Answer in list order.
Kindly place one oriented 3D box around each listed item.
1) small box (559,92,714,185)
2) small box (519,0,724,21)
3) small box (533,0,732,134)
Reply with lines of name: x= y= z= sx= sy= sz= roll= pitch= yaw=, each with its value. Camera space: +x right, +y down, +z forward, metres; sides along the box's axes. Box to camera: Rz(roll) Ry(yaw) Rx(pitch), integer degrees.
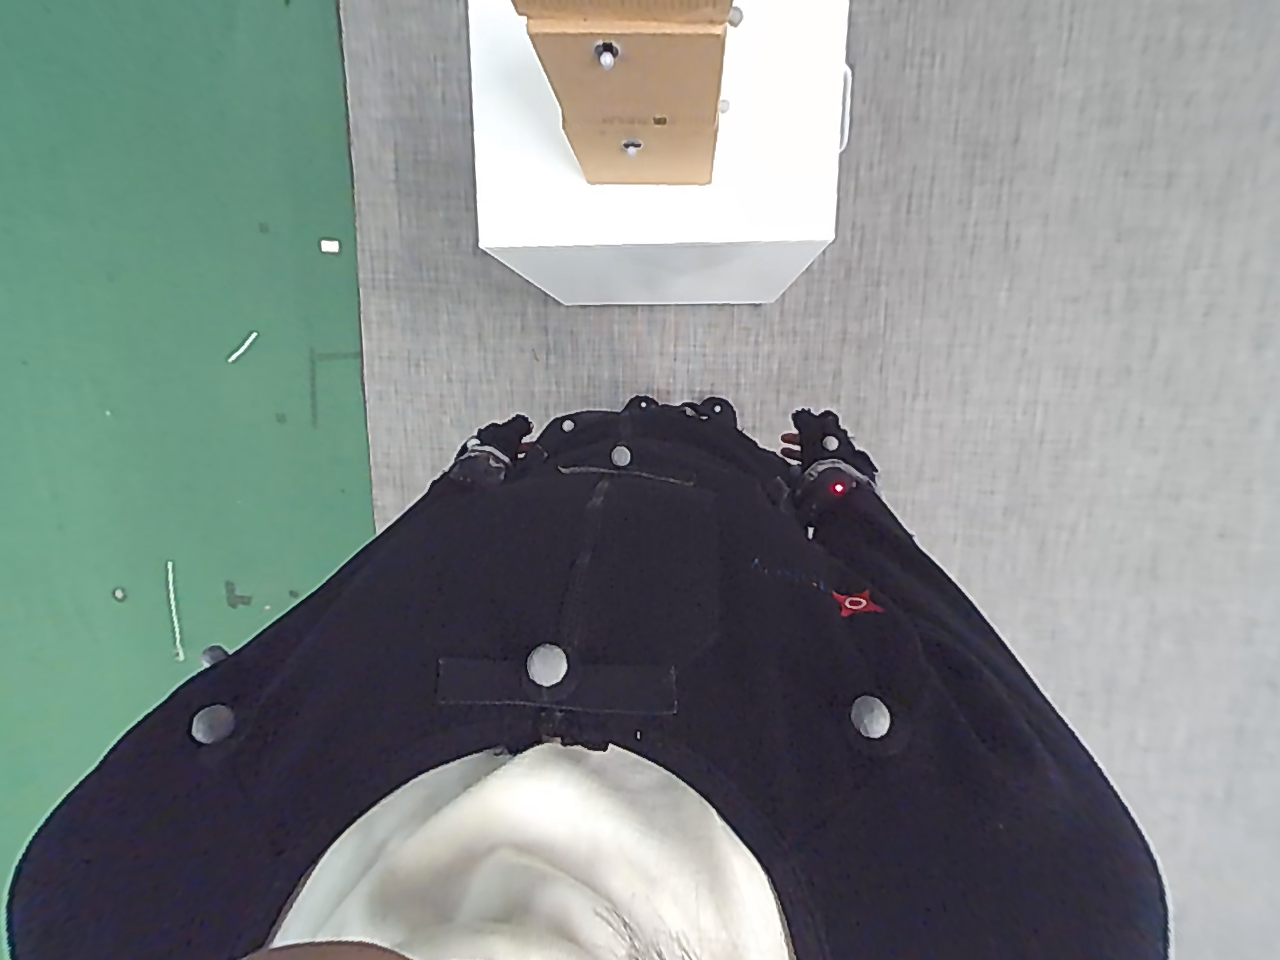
small box: x=0.006 y=-0.483 z=0.670 sx=0.179 sy=0.176 sz=0.168 roll=3 pitch=99 yaw=4
small box: x=-0.017 y=-0.440 z=0.348 sx=0.179 sy=0.176 sz=0.168 roll=5 pitch=101 yaw=3
small box: x=-0.001 y=-0.462 z=0.511 sx=0.168 sy=0.176 sz=0.179 roll=1 pitch=100 yaw=3
